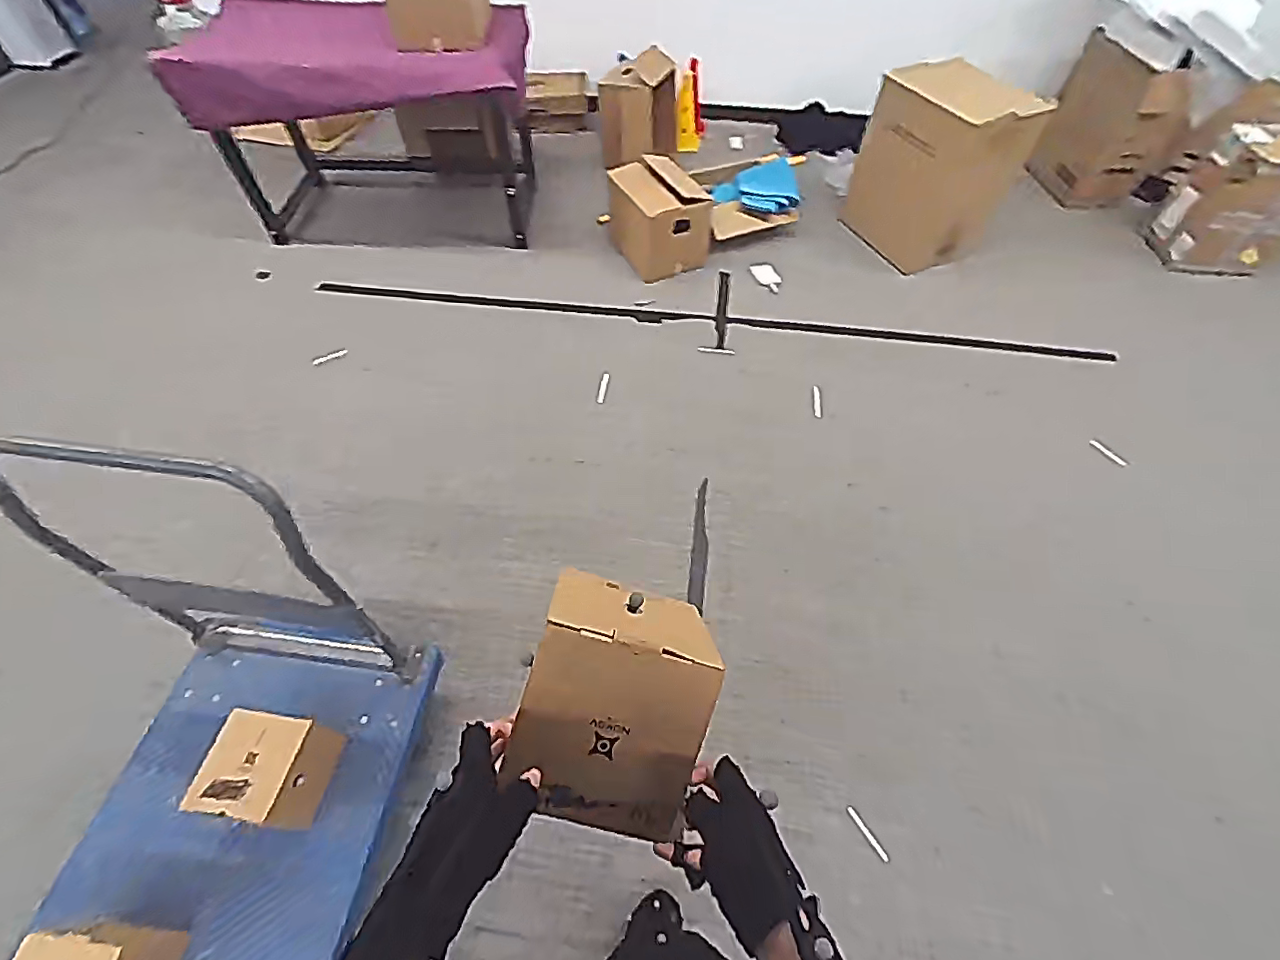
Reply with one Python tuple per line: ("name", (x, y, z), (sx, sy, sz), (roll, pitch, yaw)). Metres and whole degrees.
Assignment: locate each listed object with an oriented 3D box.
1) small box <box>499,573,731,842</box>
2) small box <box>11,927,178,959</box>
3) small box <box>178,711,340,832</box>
("small box", (-0.027, 0.214, 0.555), (0.168, 0.176, 0.179), (18, 95, -5))
("small box", (-0.914, 0.853, 0.877), (0.168, 0.176, 0.179), (6, 55, 4))
("small box", (-0.735, 0.582, 1.072), (0.168, 0.176, 0.179), (8, 54, 5))
